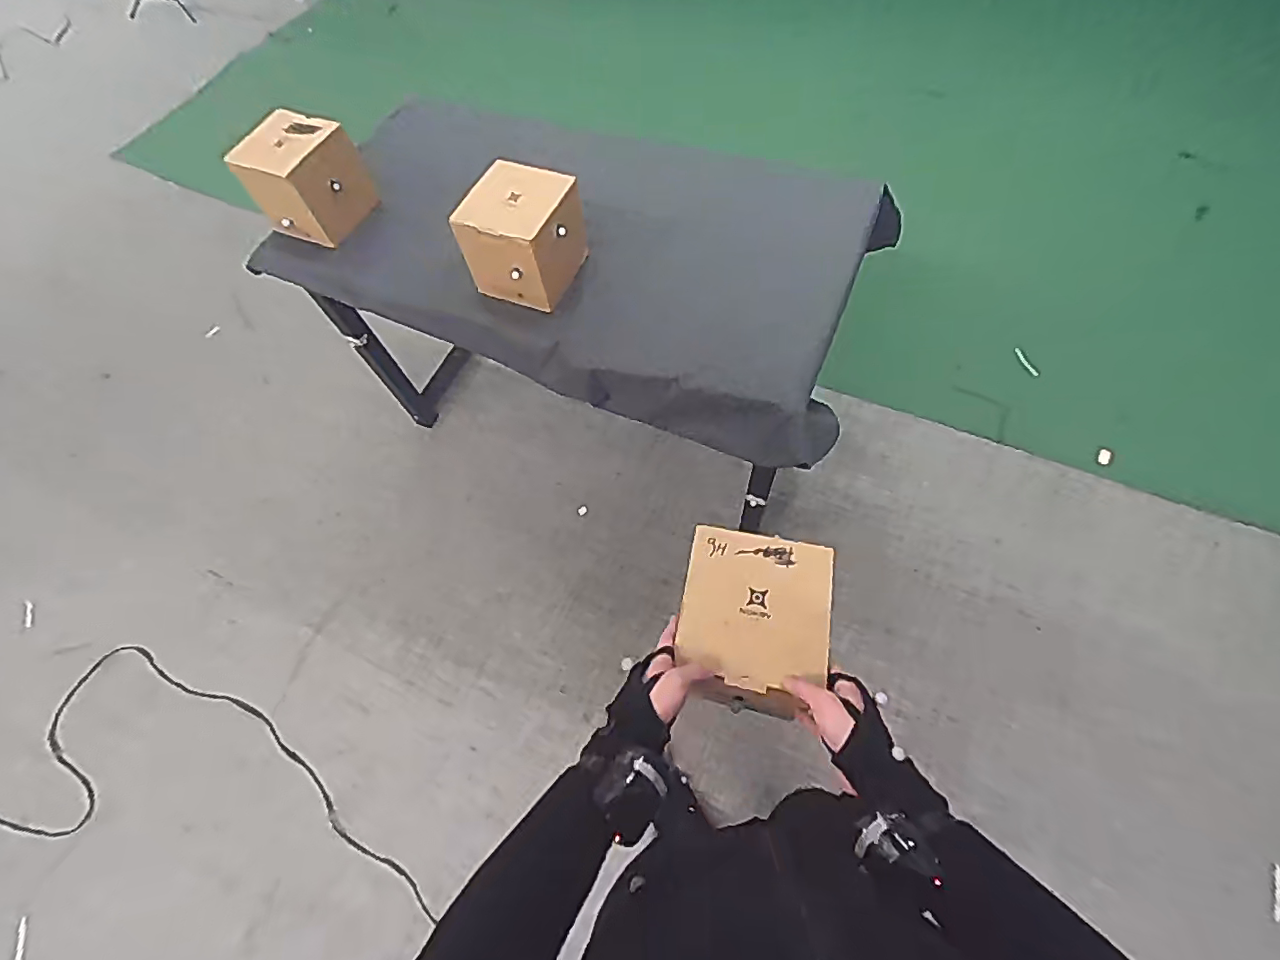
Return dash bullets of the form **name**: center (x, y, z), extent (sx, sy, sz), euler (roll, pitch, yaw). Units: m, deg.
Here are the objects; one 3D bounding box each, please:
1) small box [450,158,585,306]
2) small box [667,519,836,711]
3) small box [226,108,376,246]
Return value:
- **small box**: center (-0.214, -0.456, 1.008), extent (0.168, 0.176, 0.179), euler (20, 65, 13)
- **small box**: center (0.133, 0.172, 0.666), extent (0.168, 0.176, 0.179), euler (10, 62, 9)
- **small box**: center (-0.691, -0.630, 1.132), extent (0.168, 0.176, 0.179), euler (20, 67, 14)
